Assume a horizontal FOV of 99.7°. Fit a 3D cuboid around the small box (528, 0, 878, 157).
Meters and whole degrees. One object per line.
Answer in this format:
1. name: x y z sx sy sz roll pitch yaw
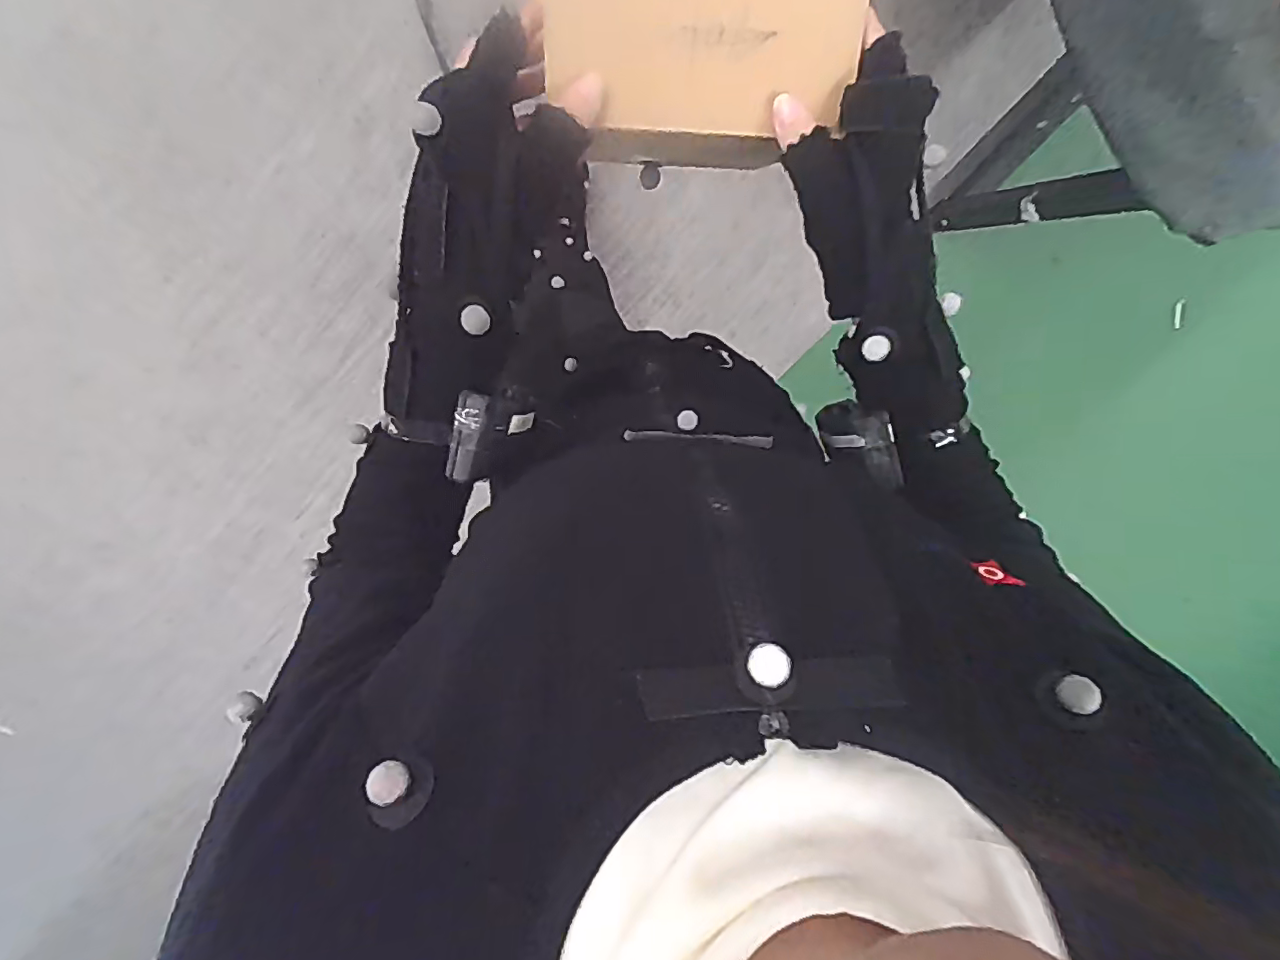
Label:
1. small box: 0.027 -0.299 0.304 0.168 0.176 0.179 2 115 -6
